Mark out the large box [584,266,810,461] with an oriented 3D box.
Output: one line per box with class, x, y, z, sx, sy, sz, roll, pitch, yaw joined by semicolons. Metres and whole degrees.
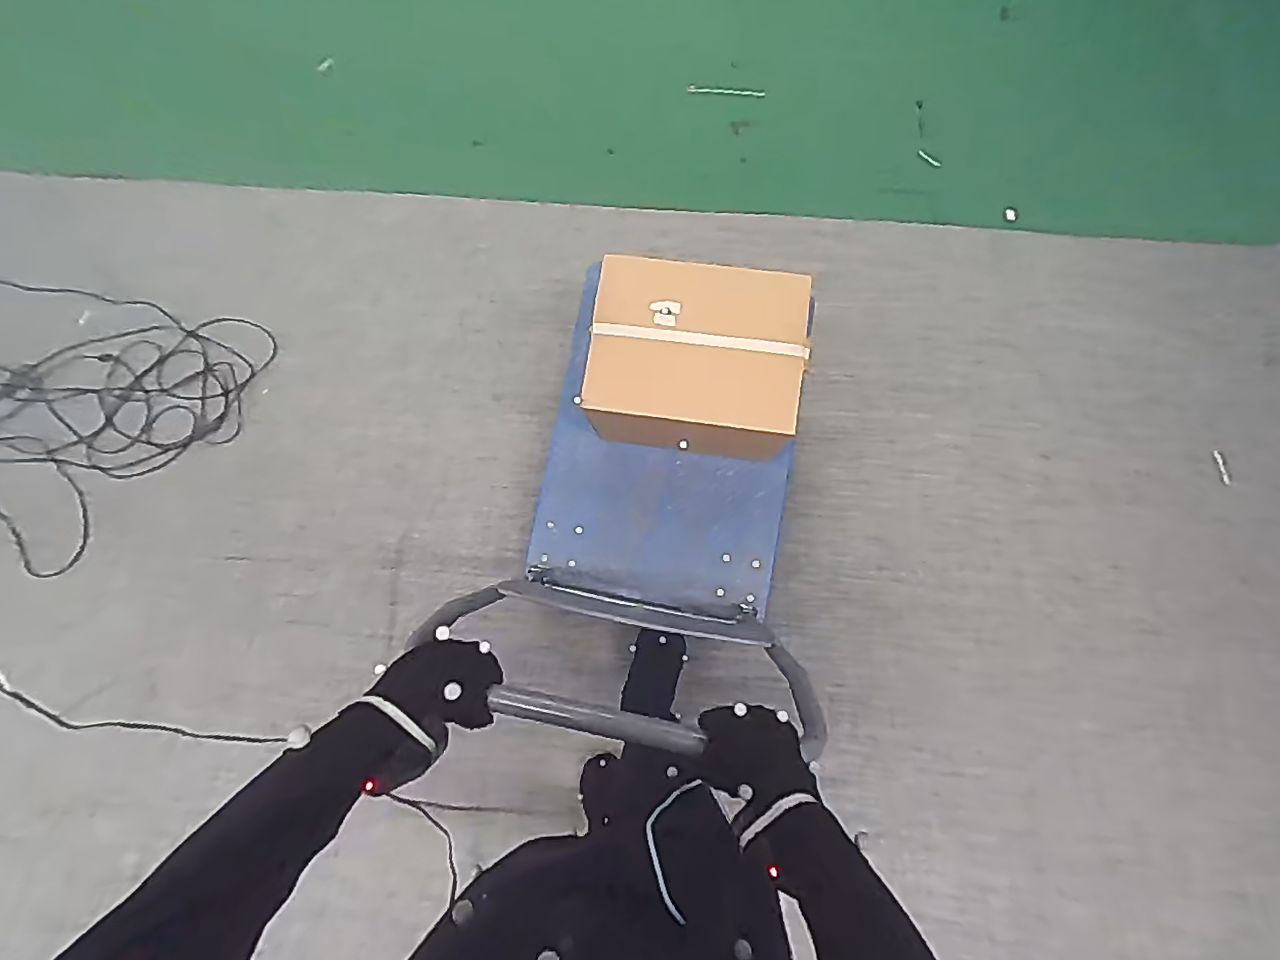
large box;0.123;-0.229;1.165;0.408;0.320;0.320;7;82;6
